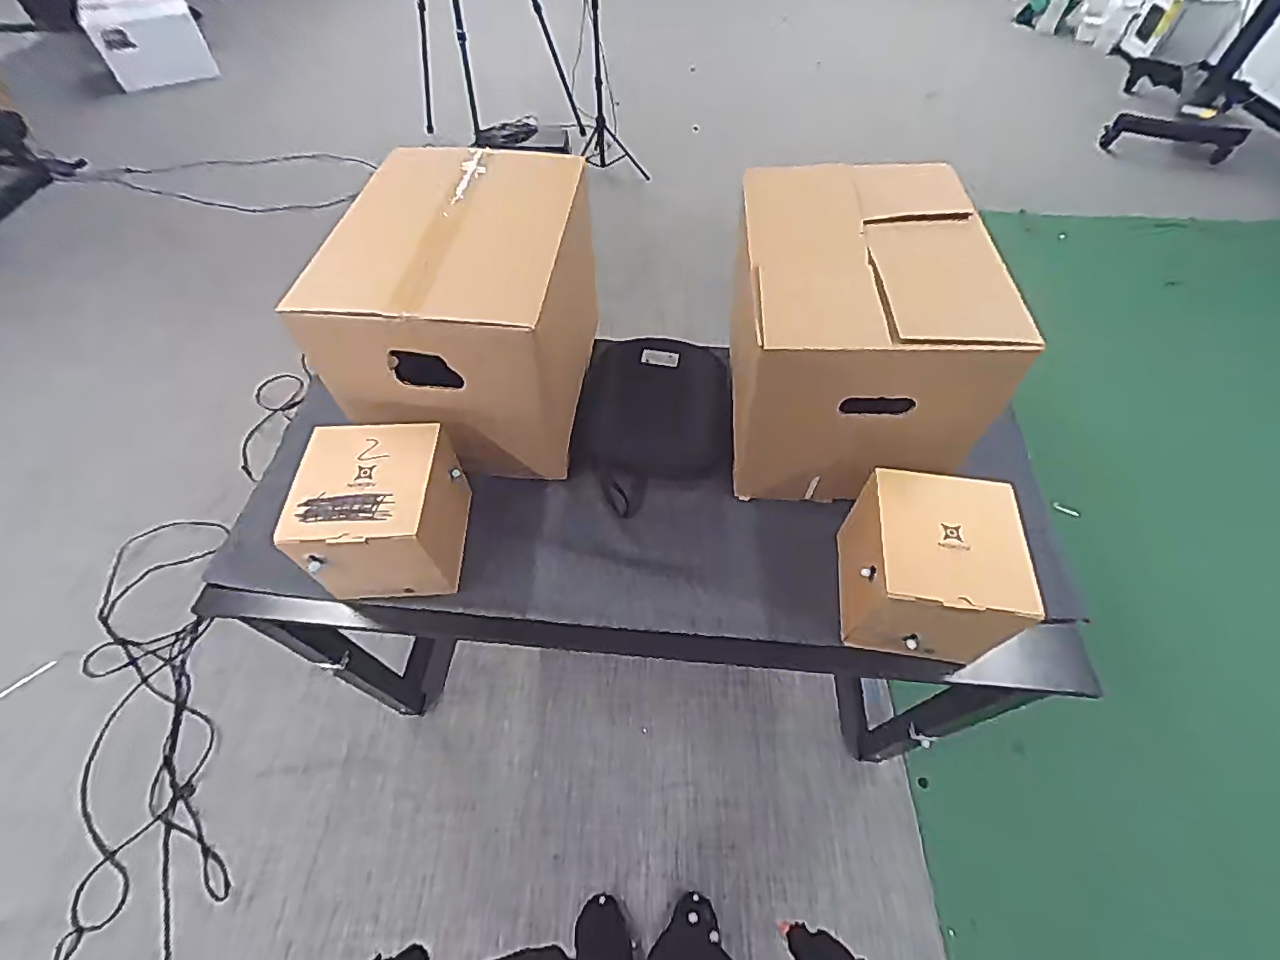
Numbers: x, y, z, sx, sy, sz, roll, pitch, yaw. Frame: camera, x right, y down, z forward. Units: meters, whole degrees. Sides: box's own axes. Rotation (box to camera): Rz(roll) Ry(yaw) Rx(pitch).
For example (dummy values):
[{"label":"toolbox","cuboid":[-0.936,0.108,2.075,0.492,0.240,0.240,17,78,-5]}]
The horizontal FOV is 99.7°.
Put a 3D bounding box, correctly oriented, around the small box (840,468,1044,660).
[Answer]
[{"label":"small box","cuboid":[0.364,0.111,0.695,0.168,0.176,0.179,8,57,6]}]
